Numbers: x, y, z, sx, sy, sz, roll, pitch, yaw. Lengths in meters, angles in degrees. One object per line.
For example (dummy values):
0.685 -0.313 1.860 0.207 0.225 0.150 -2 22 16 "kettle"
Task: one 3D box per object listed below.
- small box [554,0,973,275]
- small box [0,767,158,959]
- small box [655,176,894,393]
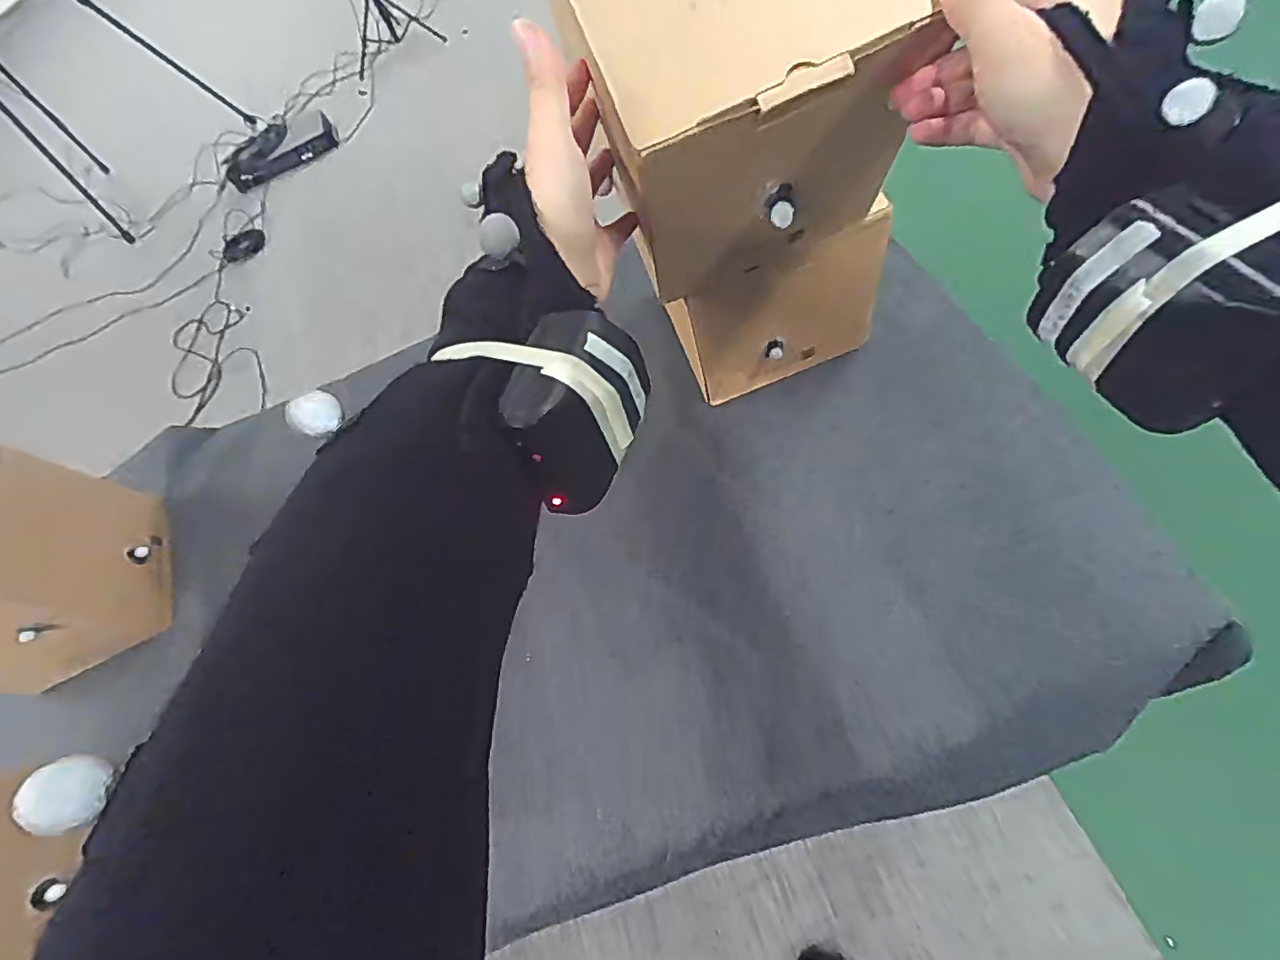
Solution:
0.053 -0.253 0.331 0.168 0.176 0.179 -22 83 4 "small box"
-0.536 0.338 0.422 0.179 0.176 0.168 -22 60 4 "small box"
0.104 -0.215 0.509 0.168 0.176 0.179 -21 65 5 "small box"
